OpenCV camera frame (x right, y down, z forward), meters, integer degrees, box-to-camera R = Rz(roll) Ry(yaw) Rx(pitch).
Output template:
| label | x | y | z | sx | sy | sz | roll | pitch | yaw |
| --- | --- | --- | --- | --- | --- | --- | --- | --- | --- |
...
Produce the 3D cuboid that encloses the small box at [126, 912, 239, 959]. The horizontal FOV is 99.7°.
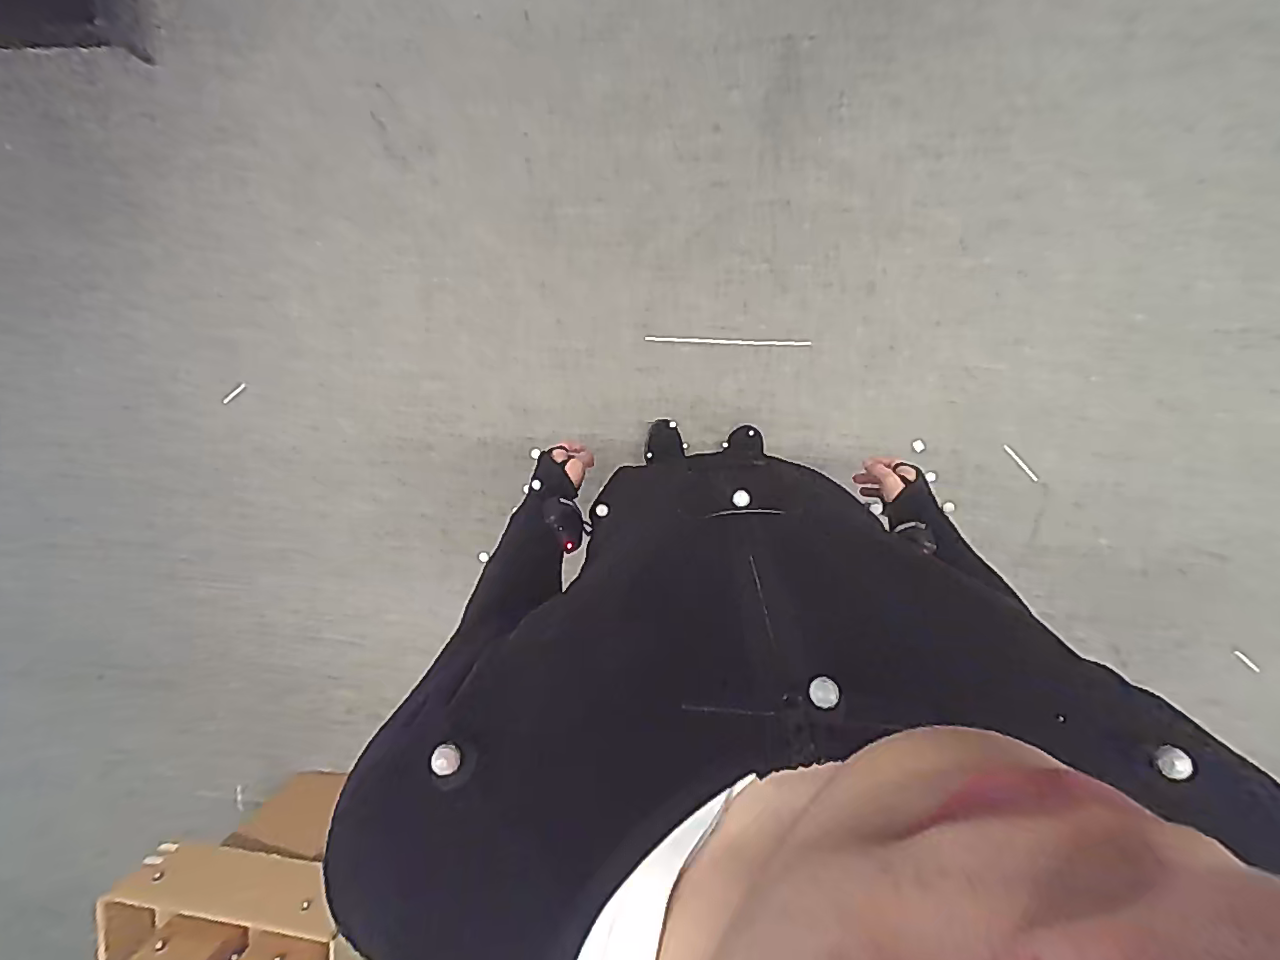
| label | x | y | z | sx | sy | sz | roll | pitch | yaw |
| --- | --- | --- | --- | --- | --- | --- | --- | --- | --- |
| small box | -1.161 | 1.242 | 1.363 | 0.179 | 0.176 | 0.168 | 6 | 97 | 3 |
